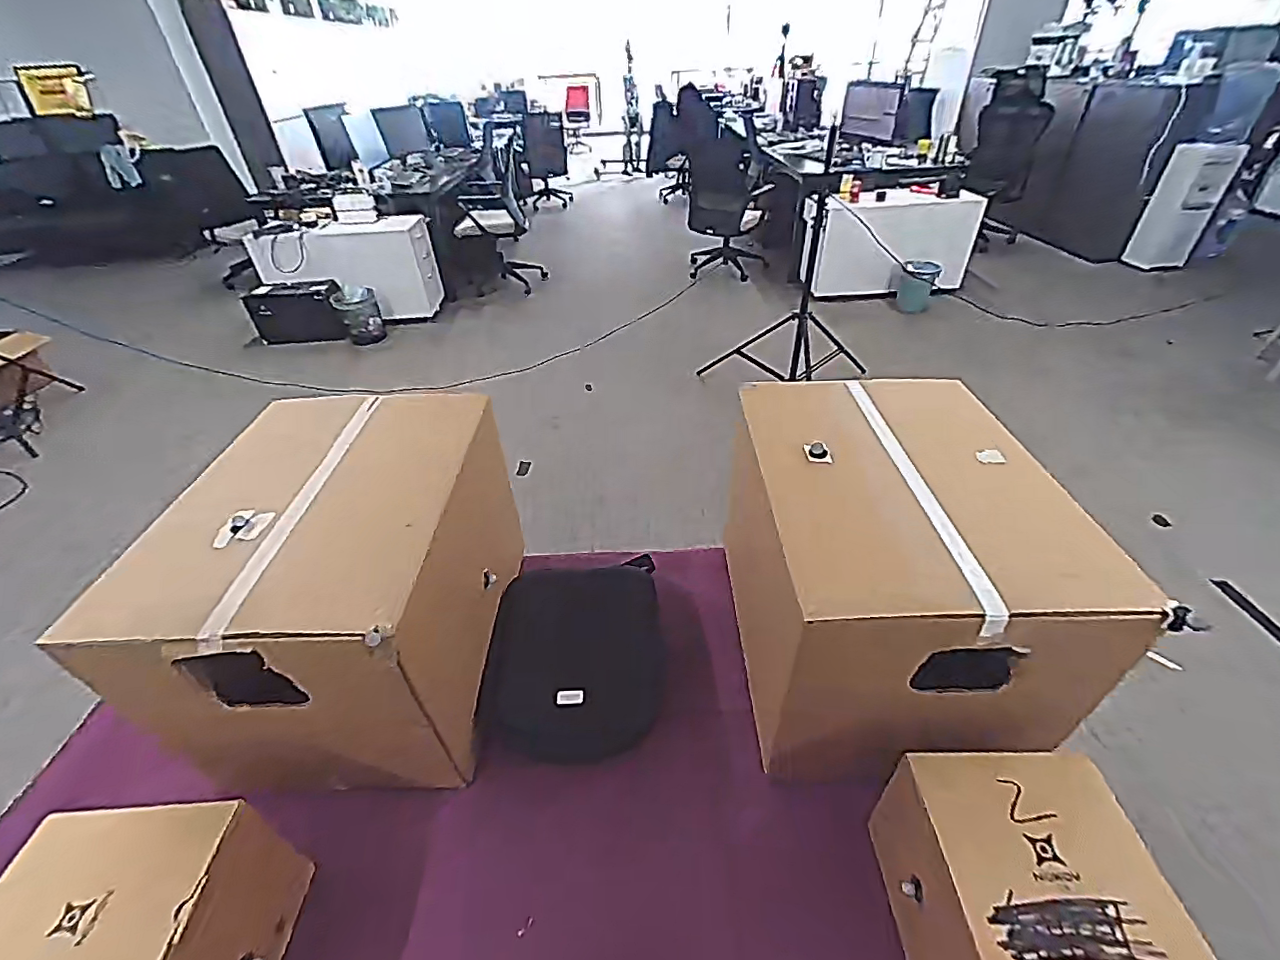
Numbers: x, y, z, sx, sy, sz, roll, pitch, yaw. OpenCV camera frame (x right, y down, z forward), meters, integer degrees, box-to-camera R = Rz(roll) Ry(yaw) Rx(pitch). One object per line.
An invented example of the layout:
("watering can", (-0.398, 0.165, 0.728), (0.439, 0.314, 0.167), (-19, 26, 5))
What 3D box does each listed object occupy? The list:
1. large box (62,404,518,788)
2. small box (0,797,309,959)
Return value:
("large box", (-0.362, 0.137, 0.721), (0.320, 0.320, 0.408), (-3, 41, 1))
("small box", (-0.446, 0.414, 0.487), (0.179, 0.176, 0.168), (-3, 37, -2))
